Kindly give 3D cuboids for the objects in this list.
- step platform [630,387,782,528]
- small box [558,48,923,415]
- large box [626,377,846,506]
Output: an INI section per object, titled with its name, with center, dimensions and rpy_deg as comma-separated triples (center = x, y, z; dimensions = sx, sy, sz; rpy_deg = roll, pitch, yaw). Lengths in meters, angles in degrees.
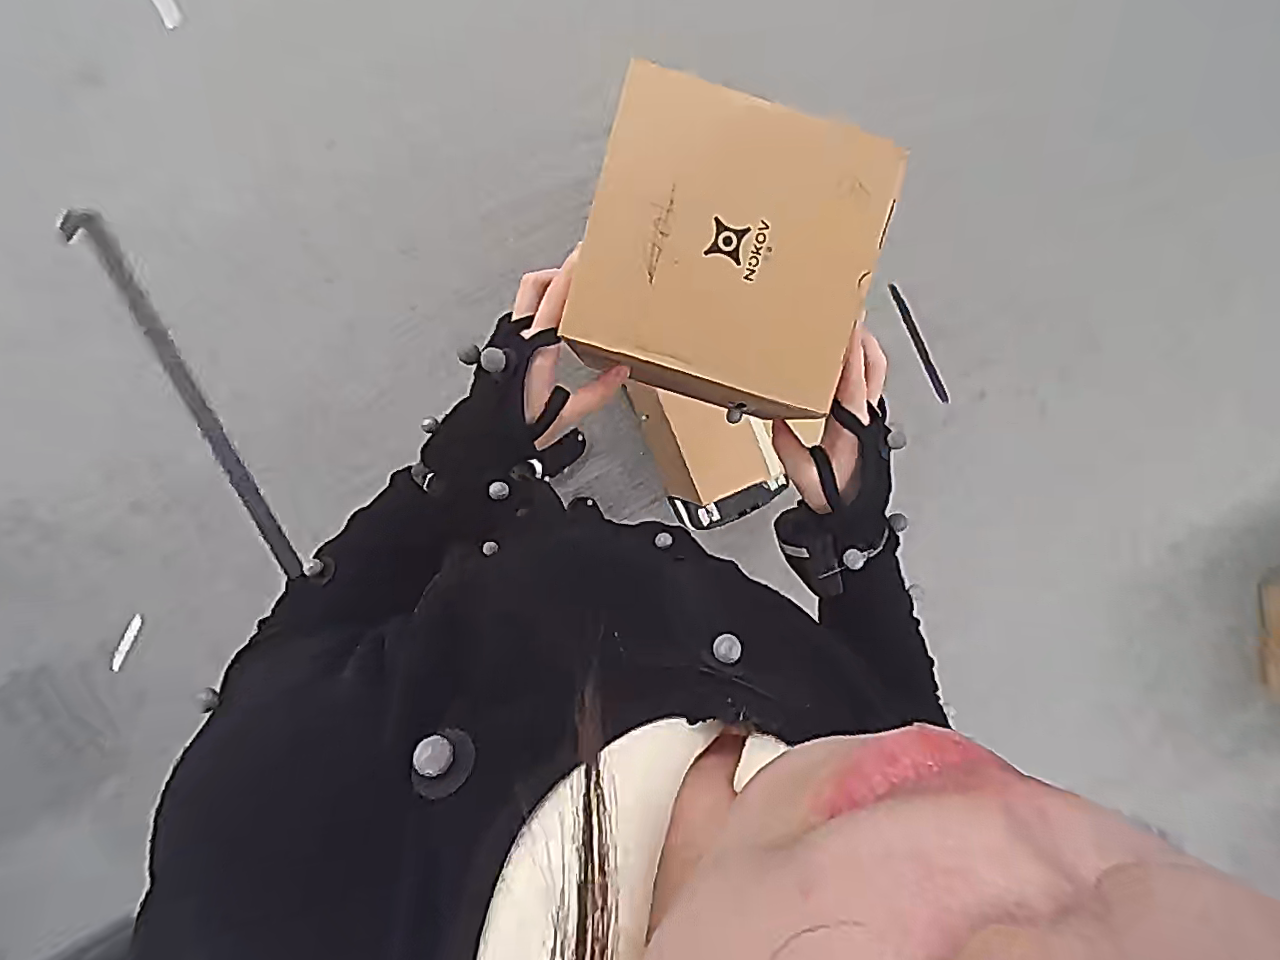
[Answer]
[step platform]
center = 0.121, -0.222, 1.404
dimensions = 0.286, 0.204, 0.684
rpy_deg = -21, 94, -7
[small box]
center = 0.057, -0.148, 0.390
dimensions = 0.179, 0.176, 0.168
rpy_deg = 16, 94, -1
[large box]
center = 0.170, -0.191, 1.171
dimensions = 0.320, 0.320, 0.408
rpy_deg = -23, 94, -8
